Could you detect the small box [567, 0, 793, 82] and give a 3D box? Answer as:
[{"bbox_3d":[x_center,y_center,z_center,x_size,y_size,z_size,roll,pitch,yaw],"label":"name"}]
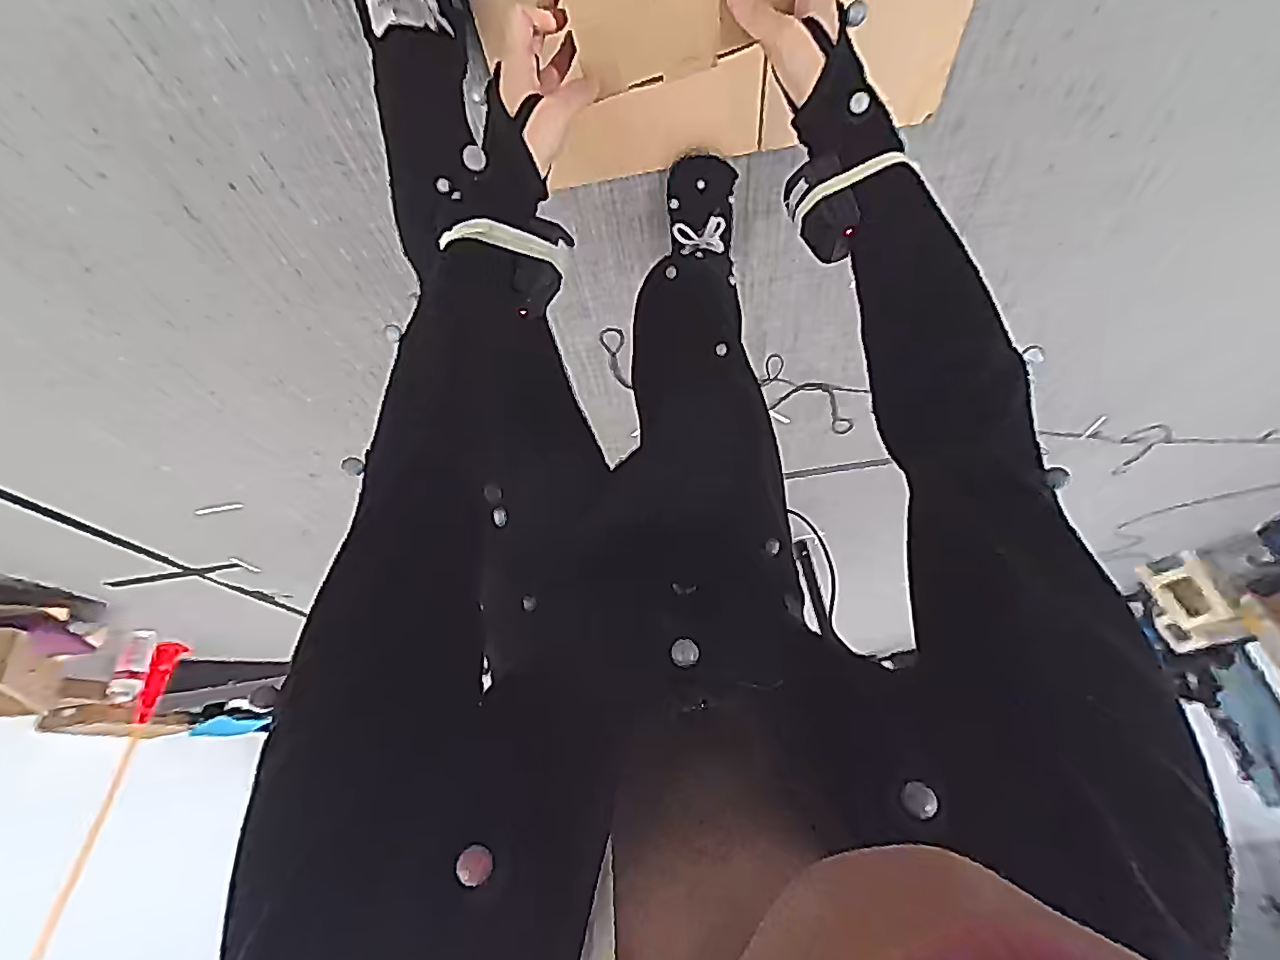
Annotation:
[{"bbox_3d":[0.008,-0.445,0.394,0.168,0.176,0.179,-16,146,7],"label":"small box"}]
